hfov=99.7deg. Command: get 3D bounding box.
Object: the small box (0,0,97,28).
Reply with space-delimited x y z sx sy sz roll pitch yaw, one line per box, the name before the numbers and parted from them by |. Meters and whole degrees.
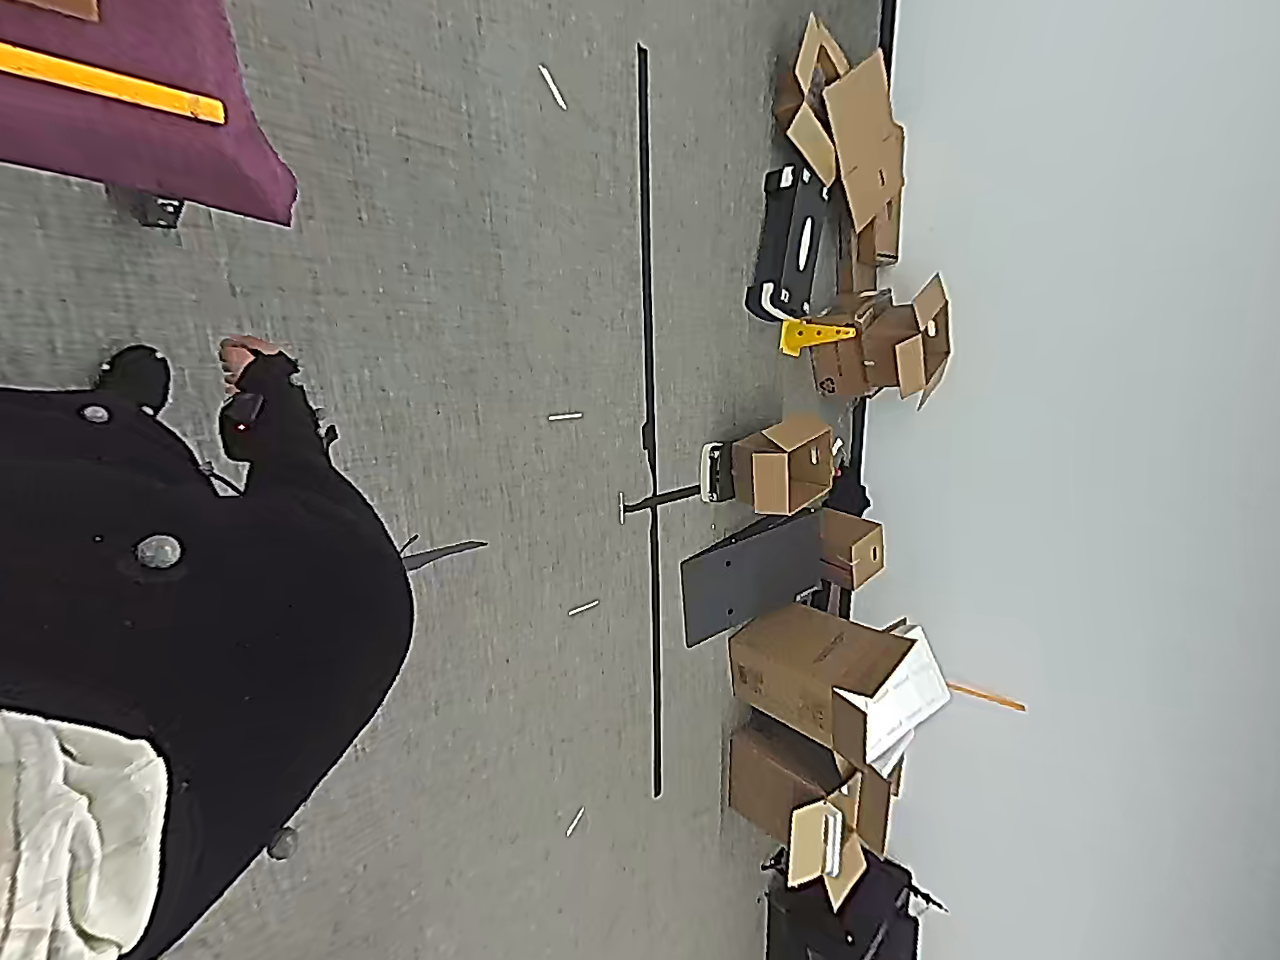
small box | -0.614 -0.560 0.475 0.168 0.176 0.179 -13 106 -40
